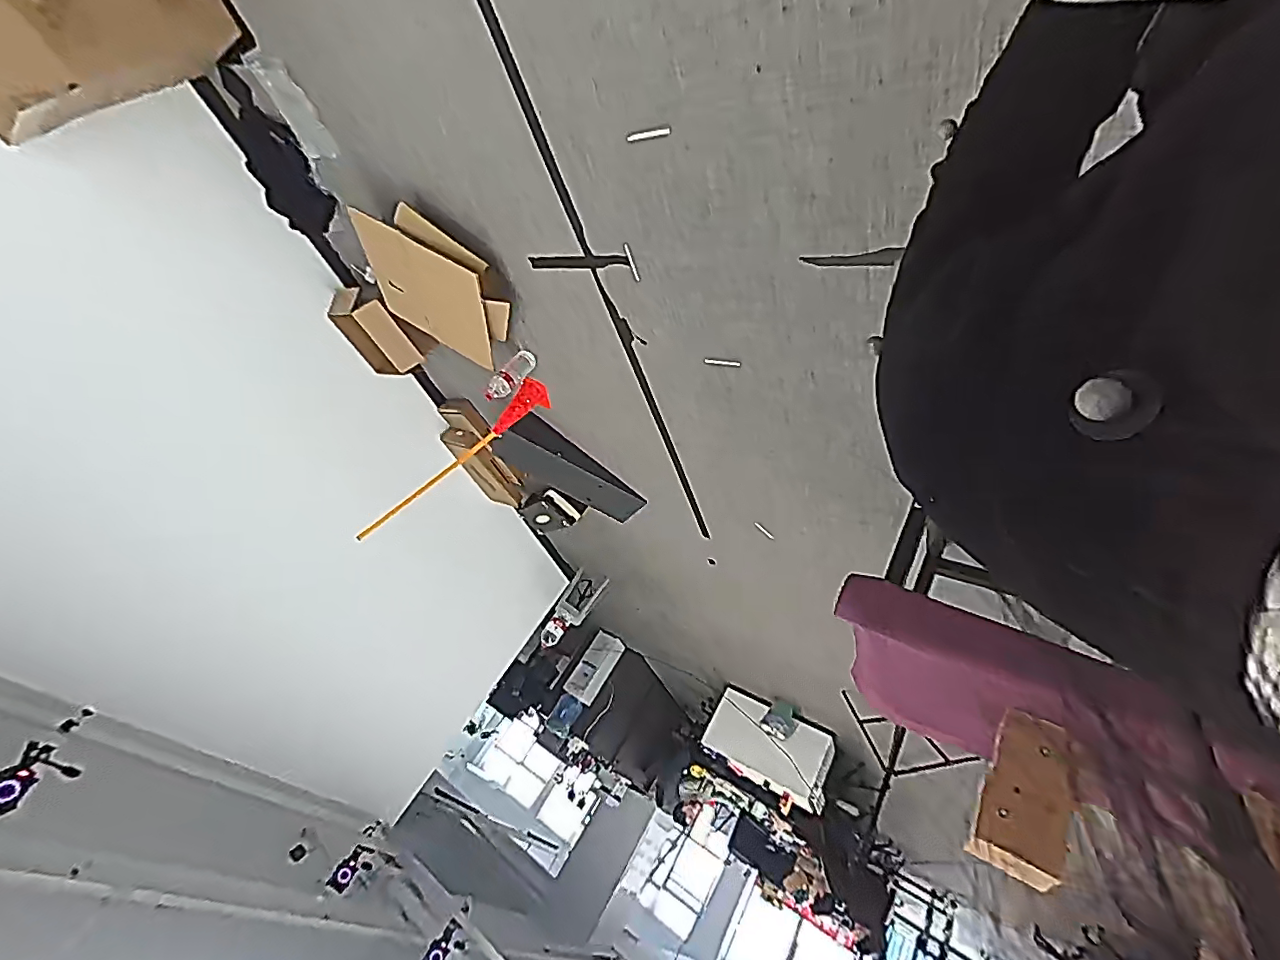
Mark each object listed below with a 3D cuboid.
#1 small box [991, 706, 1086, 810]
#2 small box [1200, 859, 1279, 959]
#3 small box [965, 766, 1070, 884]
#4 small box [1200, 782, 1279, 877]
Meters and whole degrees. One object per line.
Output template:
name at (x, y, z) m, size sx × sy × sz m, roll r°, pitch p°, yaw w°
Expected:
small box at (0.986, 0.694, 1.347) m, size 0.168 × 0.176 × 0.179 m, roll 15°, pitch 147°, yaw 35°
small box at (1.186, 0.852, 1.011) m, size 0.168 × 0.176 × 0.179 m, roll 11°, pitch 144°, yaw 40°
small box at (0.894, 0.812, 1.283) m, size 0.168 × 0.176 × 0.179 m, roll 17°, pitch 148°, yaw 35°
small box at (1.282, 0.748, 1.097) m, size 0.168 × 0.176 × 0.179 m, roll 14°, pitch 147°, yaw 36°
